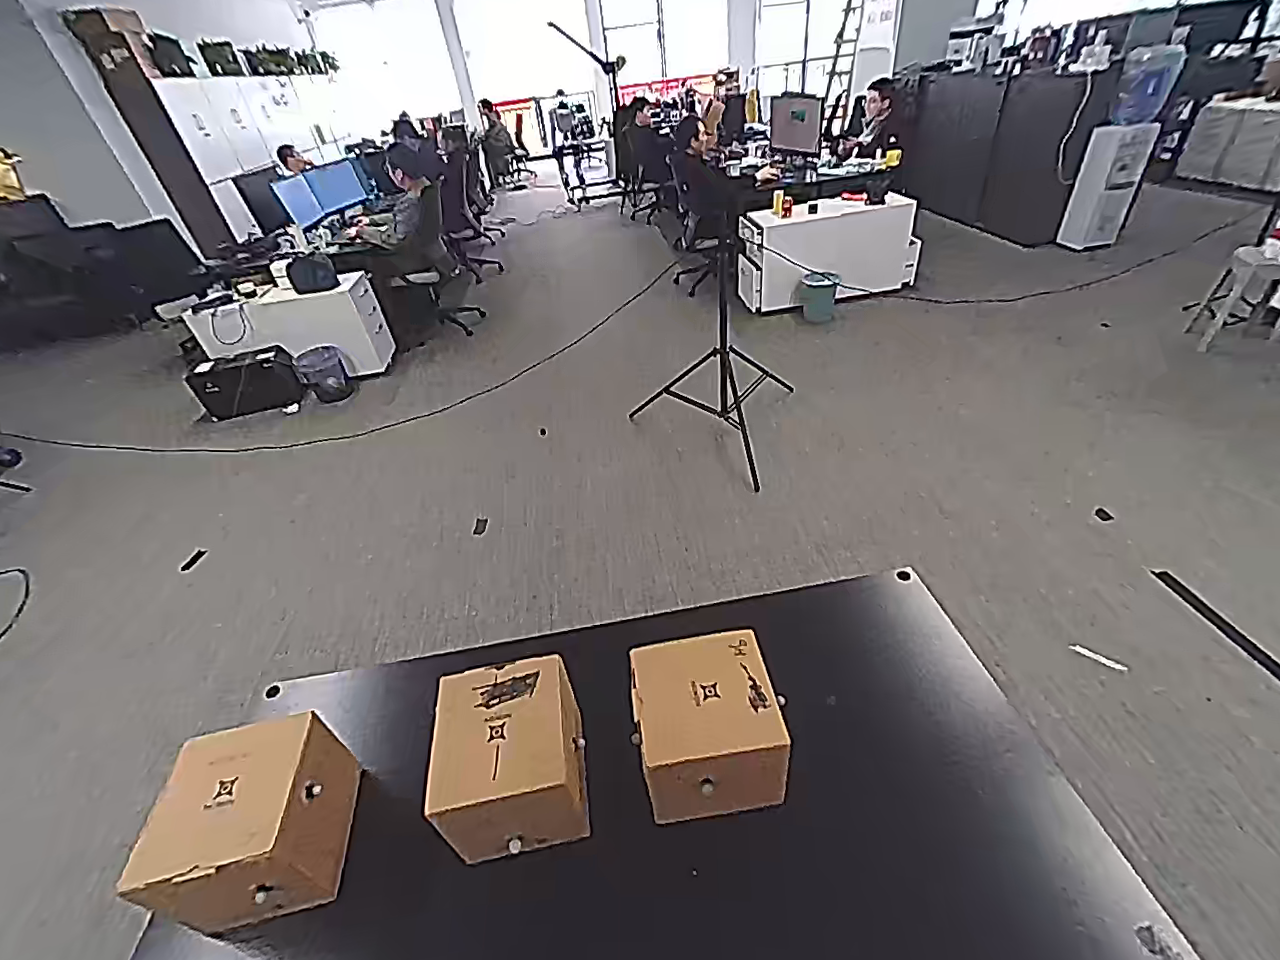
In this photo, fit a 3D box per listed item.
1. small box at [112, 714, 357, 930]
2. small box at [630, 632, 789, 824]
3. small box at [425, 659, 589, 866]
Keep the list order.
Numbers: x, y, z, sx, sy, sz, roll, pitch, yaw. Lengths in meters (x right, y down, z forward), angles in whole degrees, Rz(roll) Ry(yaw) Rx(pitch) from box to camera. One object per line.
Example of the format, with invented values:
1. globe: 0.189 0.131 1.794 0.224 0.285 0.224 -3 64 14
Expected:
1. small box: -0.491 0.440 0.694 0.168 0.176 0.179 -11 37 -7
2. small box: 0.090 0.335 0.729 0.179 0.176 0.168 -9 37 -1
3. small box: -0.166 0.374 0.723 0.168 0.176 0.179 -10 38 -4
